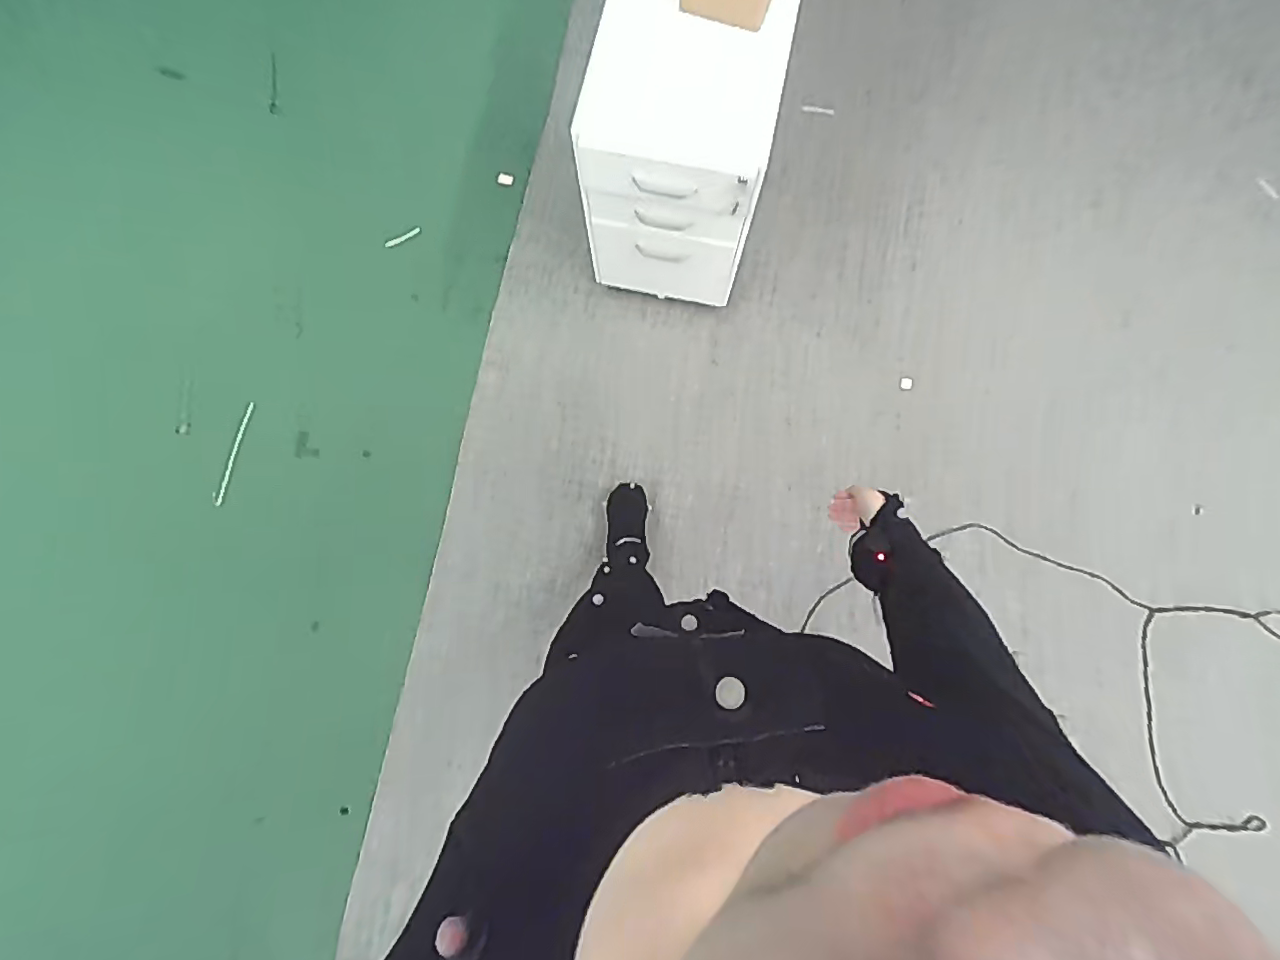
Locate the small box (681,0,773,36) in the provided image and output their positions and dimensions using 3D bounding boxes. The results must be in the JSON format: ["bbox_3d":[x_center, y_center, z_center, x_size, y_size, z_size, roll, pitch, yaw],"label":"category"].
[{"bbox_3d":[0.184,-1.018,1.049,0.179,0.176,0.168,19,81,5],"label":"small box"}]
